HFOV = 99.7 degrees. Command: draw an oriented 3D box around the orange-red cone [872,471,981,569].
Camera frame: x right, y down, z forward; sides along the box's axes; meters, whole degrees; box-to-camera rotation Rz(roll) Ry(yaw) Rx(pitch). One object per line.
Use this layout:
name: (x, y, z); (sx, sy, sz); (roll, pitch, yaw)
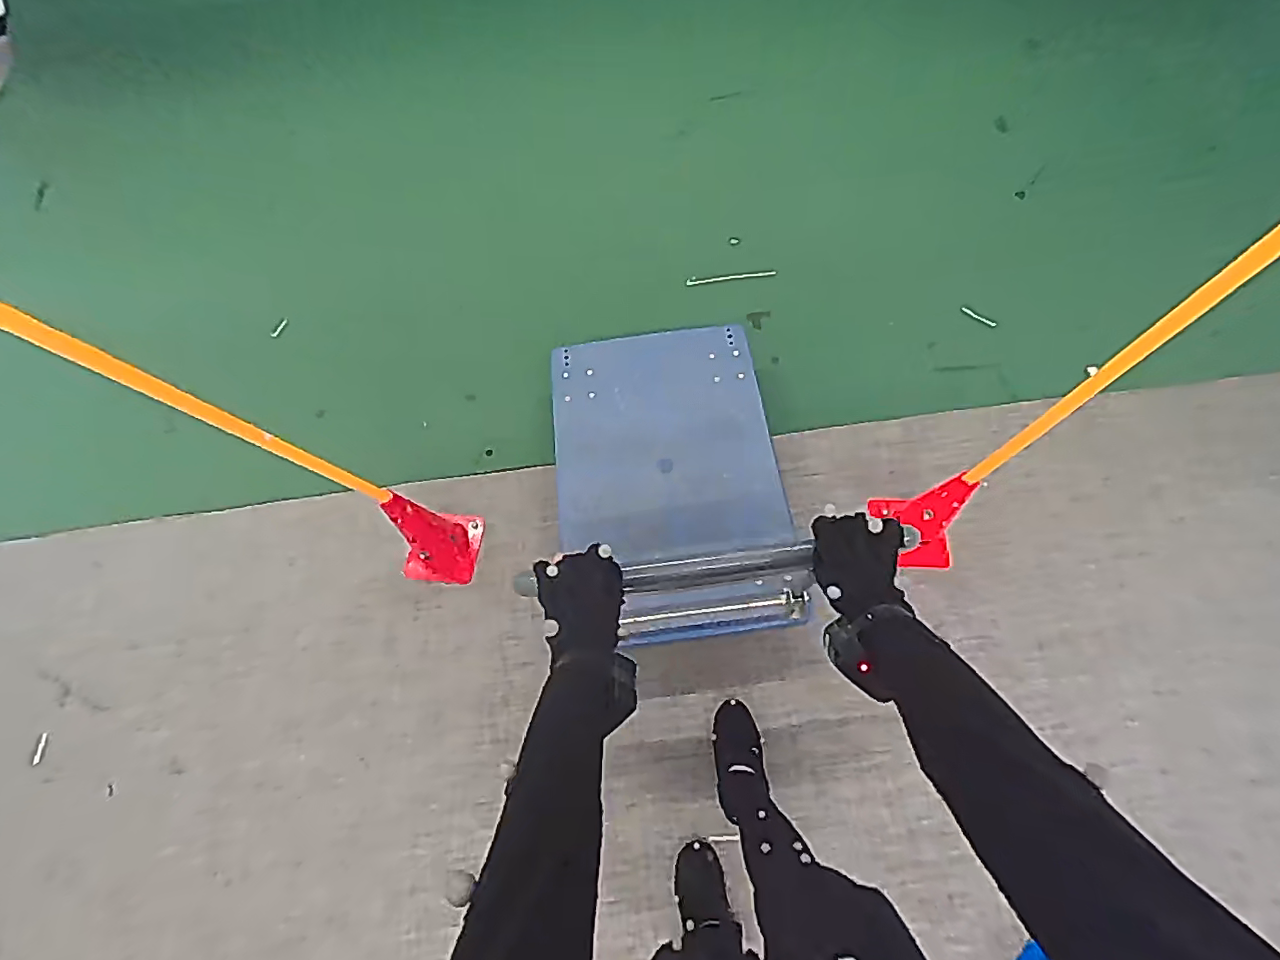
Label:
orange-red cone: (0.725, 0.072, 1.316); (0.198, 0.360, 0.199); (2, 66, 6)
